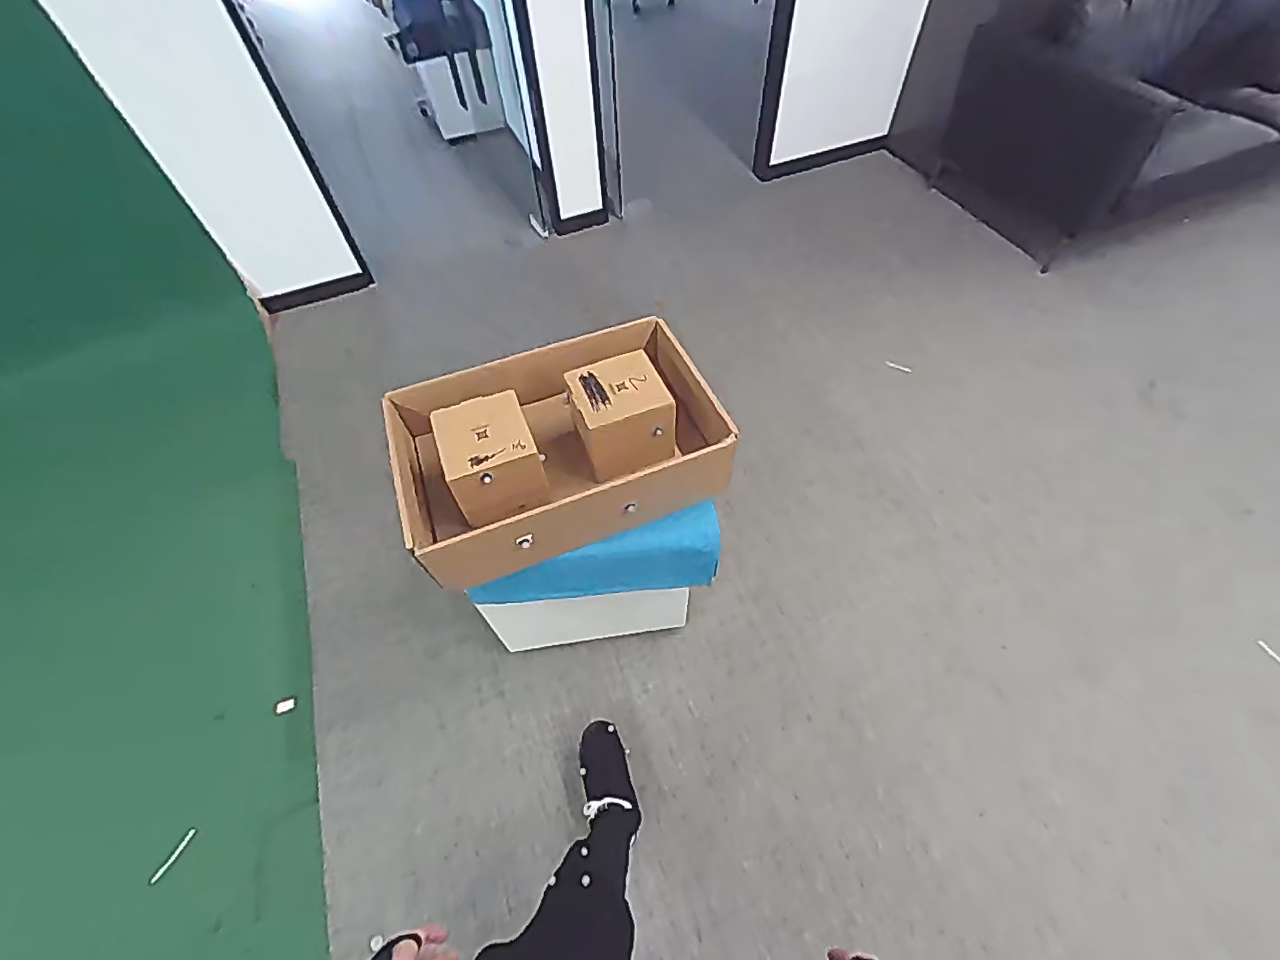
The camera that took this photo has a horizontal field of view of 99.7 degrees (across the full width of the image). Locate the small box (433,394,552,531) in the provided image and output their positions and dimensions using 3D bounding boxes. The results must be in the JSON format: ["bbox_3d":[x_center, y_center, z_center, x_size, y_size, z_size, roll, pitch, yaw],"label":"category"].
[{"bbox_3d":[-0.283,-0.032,1.052,0.168,0.176,0.179,-20,55,-11],"label":"small box"}]
